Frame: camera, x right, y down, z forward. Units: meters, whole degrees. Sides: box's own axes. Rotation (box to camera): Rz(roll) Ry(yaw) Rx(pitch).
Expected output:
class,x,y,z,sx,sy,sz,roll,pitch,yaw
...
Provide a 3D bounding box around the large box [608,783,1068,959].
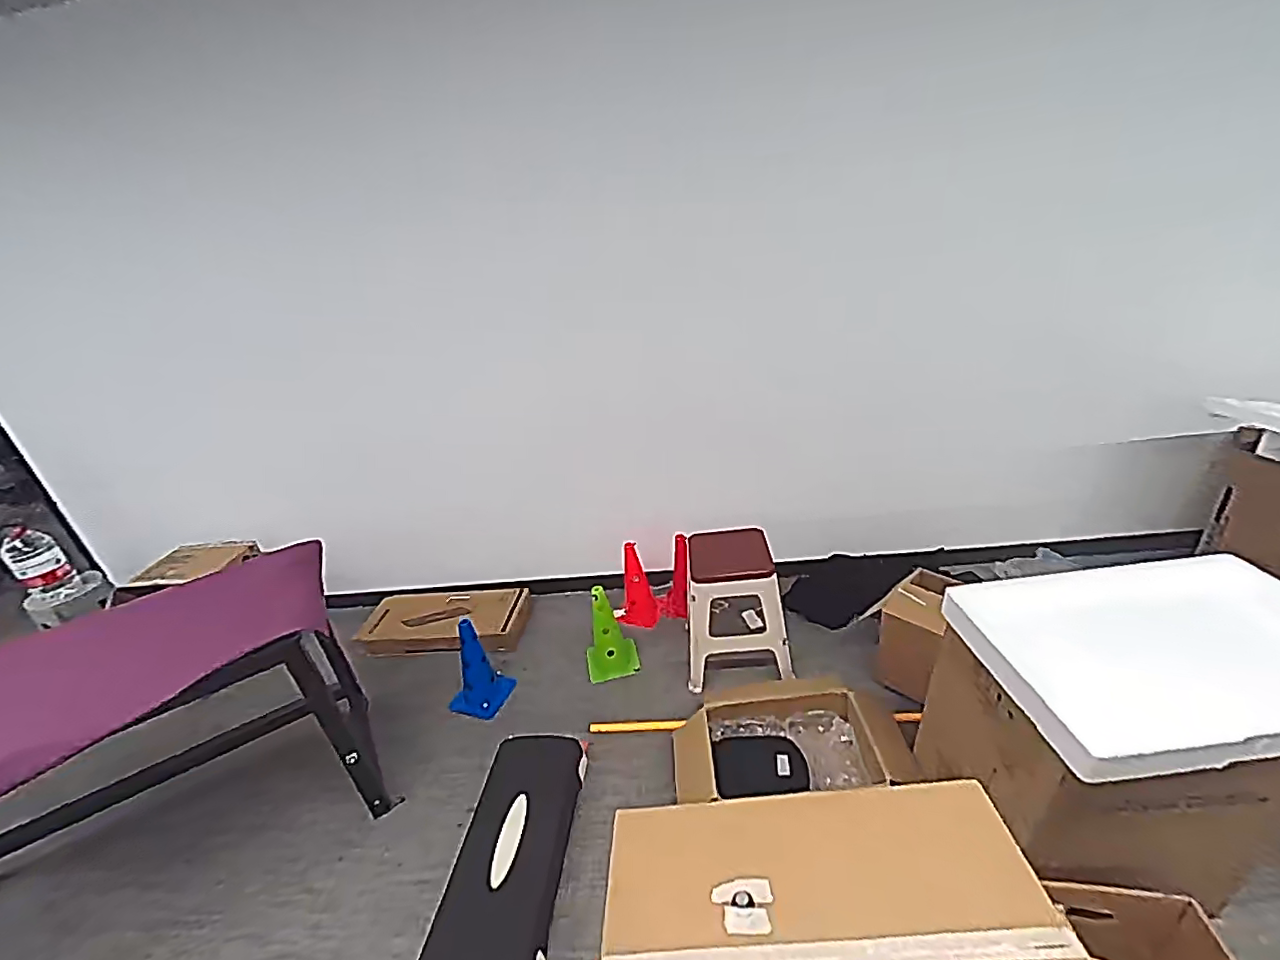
class,x,y,z,sx,sy,sz,roll,pitch,yaw
large box,0.194,0.562,0.532,0.408,0.320,0.320,-10,21,6
